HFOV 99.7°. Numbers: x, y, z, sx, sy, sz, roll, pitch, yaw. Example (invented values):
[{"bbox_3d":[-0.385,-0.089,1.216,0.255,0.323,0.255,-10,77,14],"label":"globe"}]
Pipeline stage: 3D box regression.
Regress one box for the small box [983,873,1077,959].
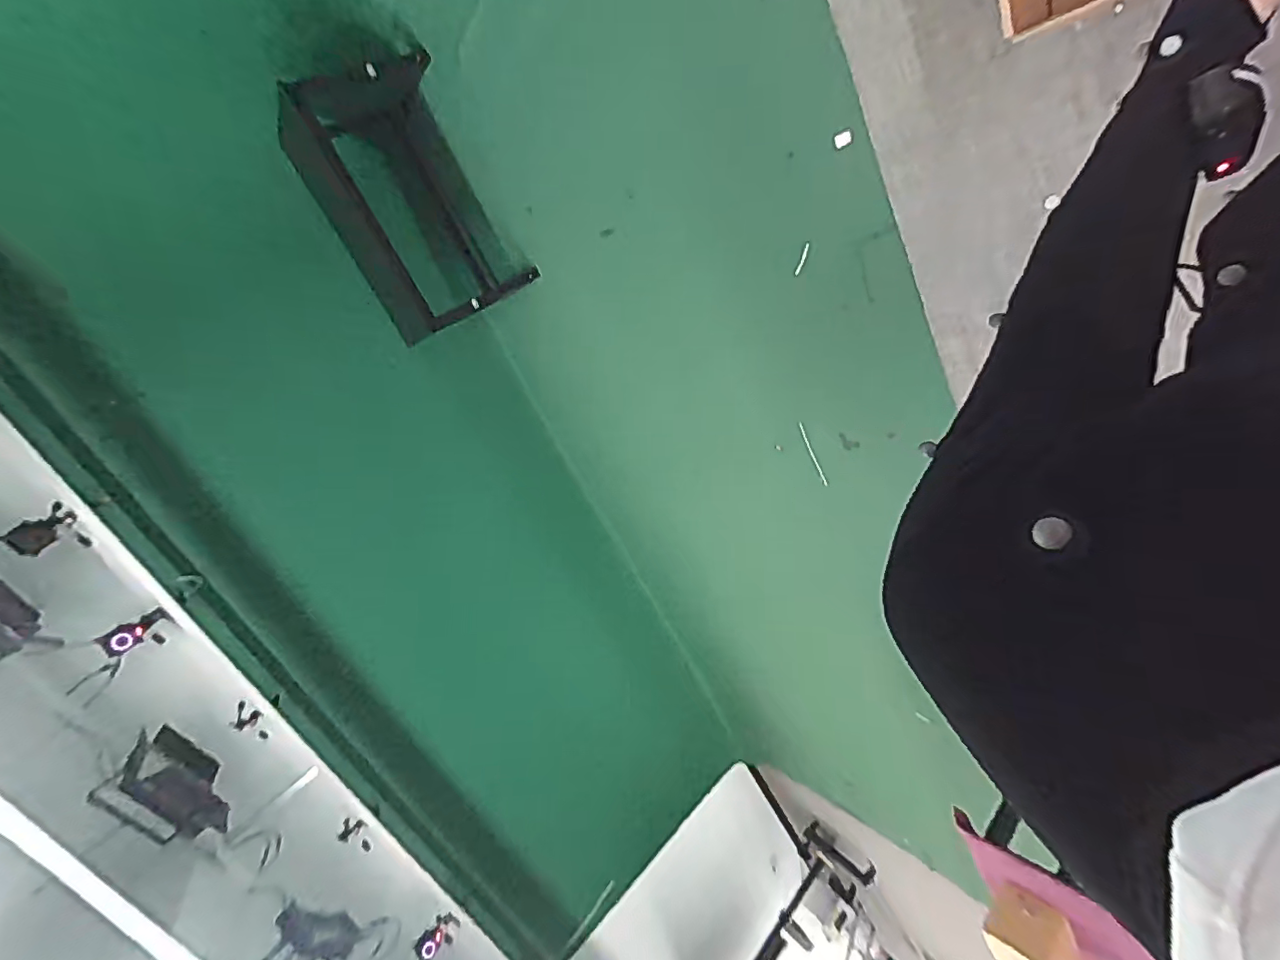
[{"bbox_3d":[1.163,1.335,1.607,0.168,0.176,0.179,2,127,57],"label":"small box"}]
